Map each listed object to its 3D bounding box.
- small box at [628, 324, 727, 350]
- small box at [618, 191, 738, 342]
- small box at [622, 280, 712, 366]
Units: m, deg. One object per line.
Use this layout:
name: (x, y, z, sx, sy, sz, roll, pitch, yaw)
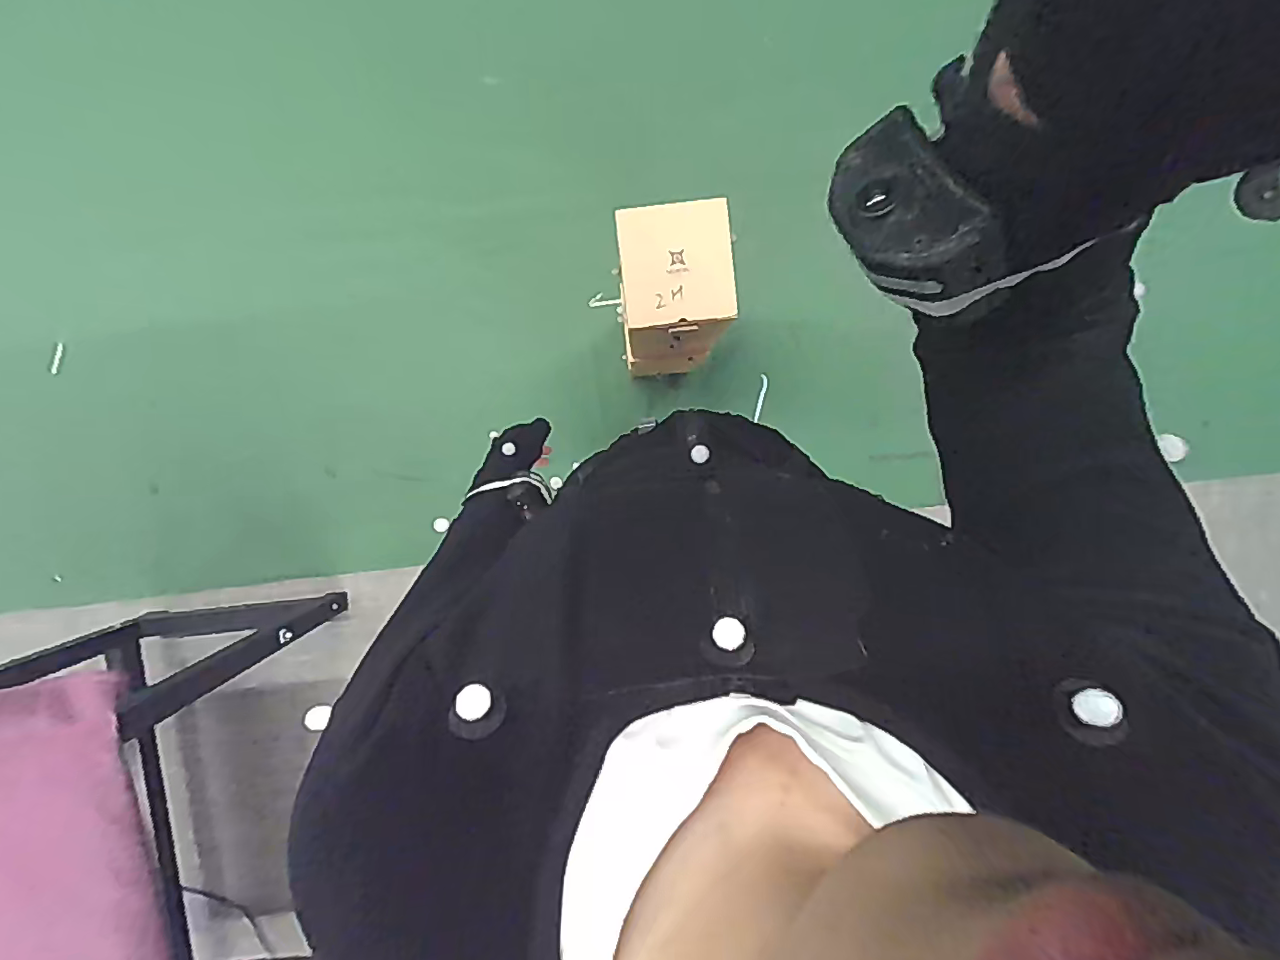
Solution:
small box: (0.062, -0.348, 1.028, 0.179, 0.176, 0.168, -4, 93, 0)
small box: (0.056, -0.330, 0.867, 0.168, 0.176, 0.179, -6, 95, 1)
small box: (0.058, -0.351, 1.195, 0.179, 0.176, 0.168, -6, 95, 1)
